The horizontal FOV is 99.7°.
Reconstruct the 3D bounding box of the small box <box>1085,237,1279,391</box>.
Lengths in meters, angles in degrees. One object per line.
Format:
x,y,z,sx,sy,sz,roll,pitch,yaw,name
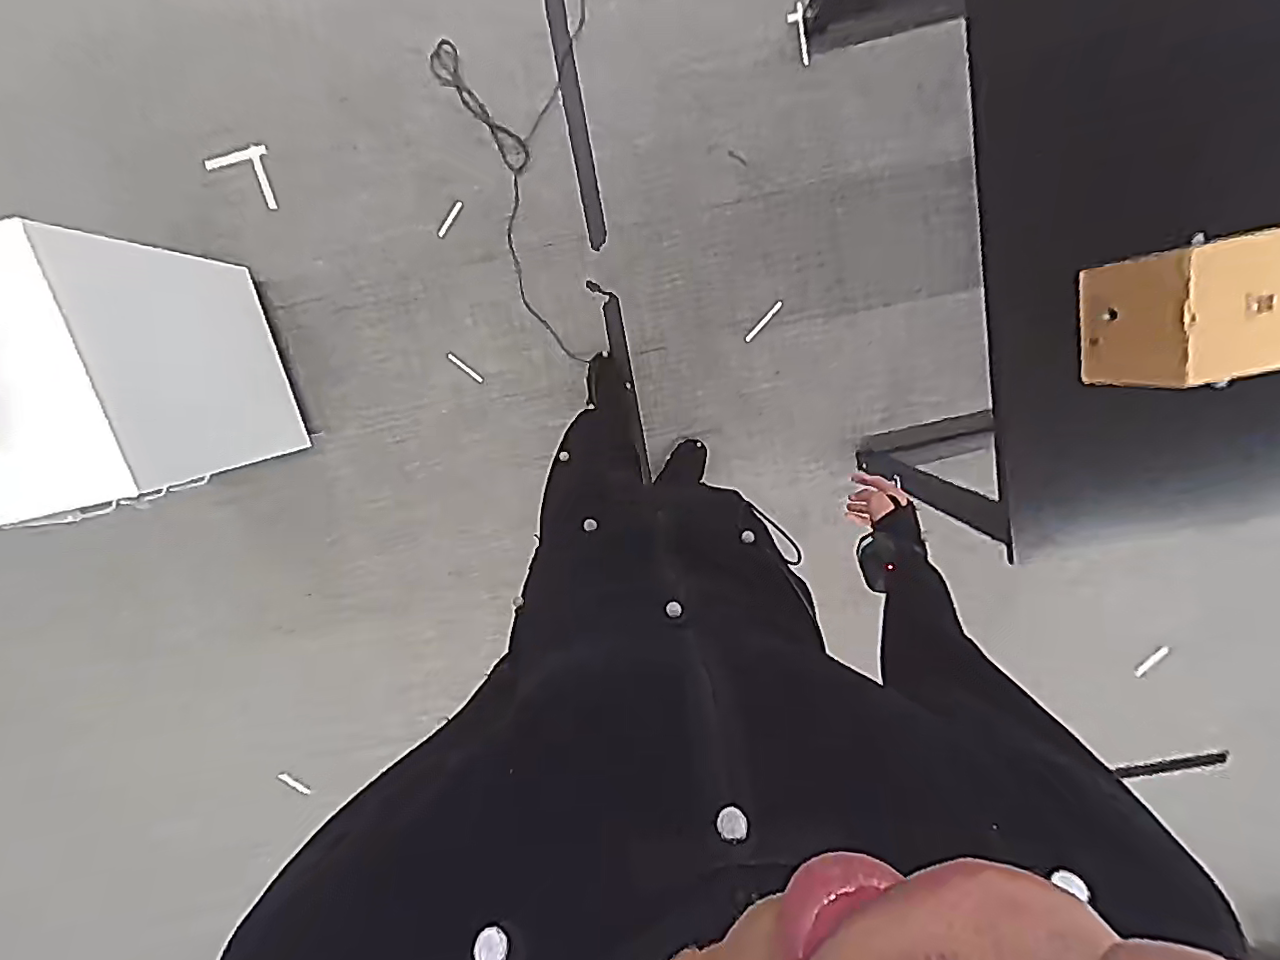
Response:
0.752,-0.221,0.726,0.179,0.176,0.168,-11,102,3,small box
